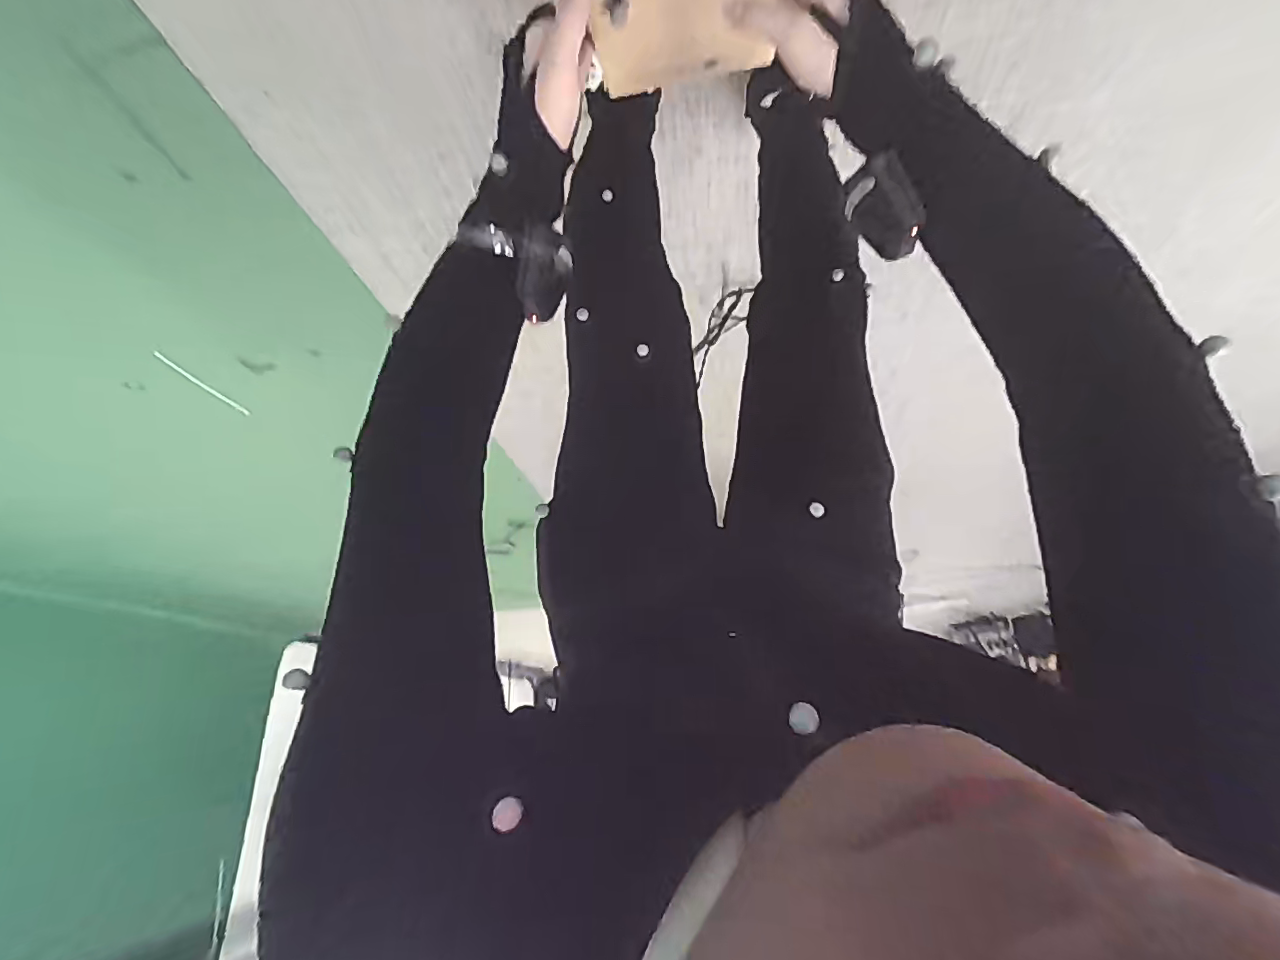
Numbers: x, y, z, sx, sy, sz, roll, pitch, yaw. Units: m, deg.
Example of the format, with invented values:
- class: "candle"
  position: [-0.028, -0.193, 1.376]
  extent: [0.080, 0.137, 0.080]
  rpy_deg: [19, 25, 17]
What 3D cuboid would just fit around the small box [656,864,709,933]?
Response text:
- class: "small box"
  position: [0.163, 1.568, 2.036]
  extent: [0.179, 0.176, 0.168]
  rpy_deg: [-7, 156, 6]
